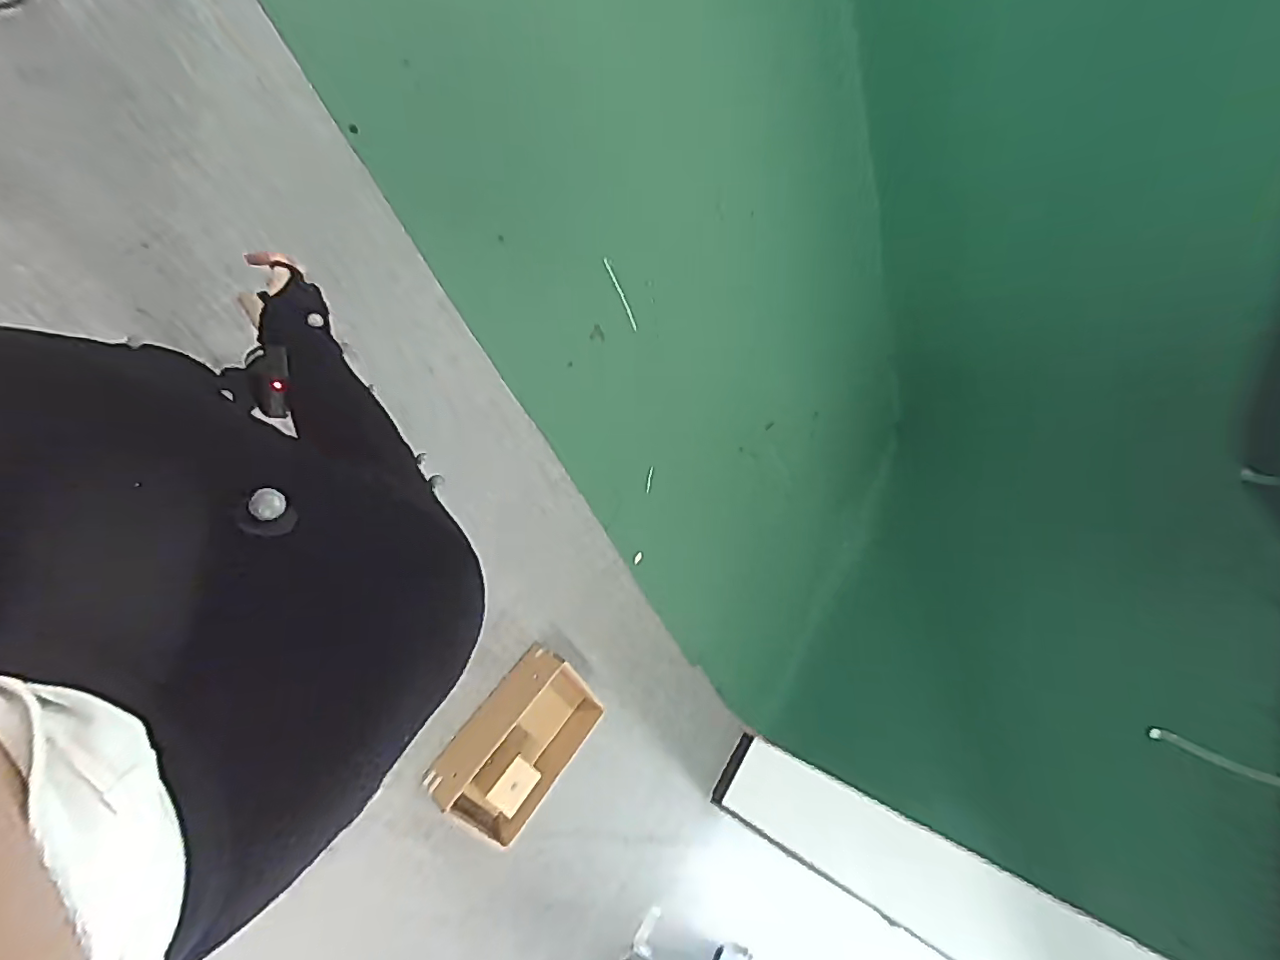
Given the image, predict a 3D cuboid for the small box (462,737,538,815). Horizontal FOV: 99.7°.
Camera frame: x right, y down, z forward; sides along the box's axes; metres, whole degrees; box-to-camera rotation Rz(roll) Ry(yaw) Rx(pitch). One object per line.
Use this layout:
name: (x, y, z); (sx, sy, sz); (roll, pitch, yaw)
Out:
small box: (-0.514, 1.074, 1.977); (0.168, 0.176, 0.179); (-48, 130, -29)
